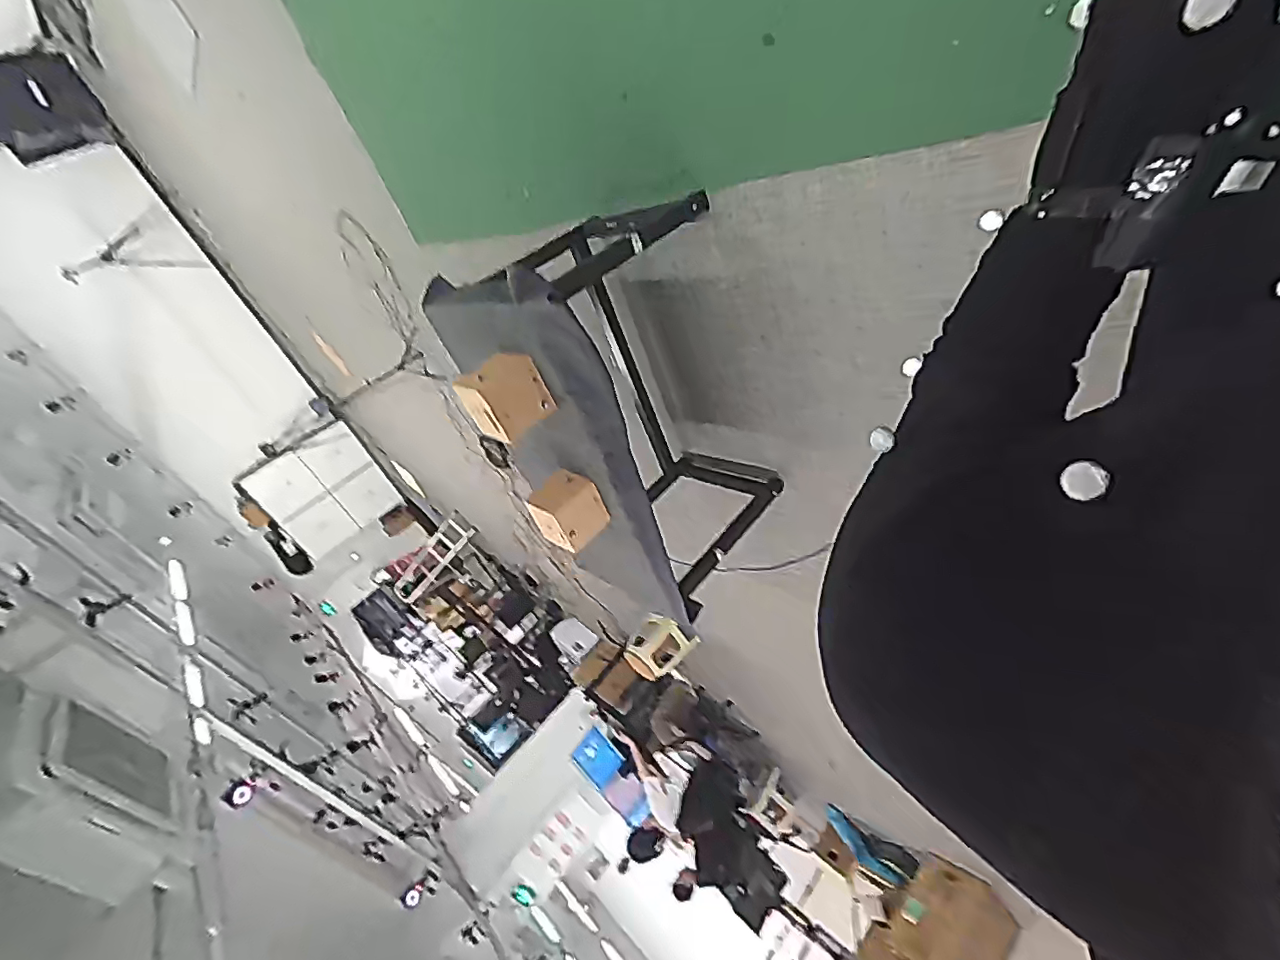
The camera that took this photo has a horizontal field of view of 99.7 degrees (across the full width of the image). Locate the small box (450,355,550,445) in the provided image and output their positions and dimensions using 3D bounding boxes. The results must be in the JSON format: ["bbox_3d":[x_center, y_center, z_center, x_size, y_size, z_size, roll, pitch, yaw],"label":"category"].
[{"bbox_3d":[-0.366,-0.221,1.449,0.179,0.176,0.168,20,144,46],"label":"small box"}]

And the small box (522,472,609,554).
[{"bbox_3d":[-0.230,0.095,1.692,0.179,0.176,0.168,19,143,45],"label":"small box"}]
